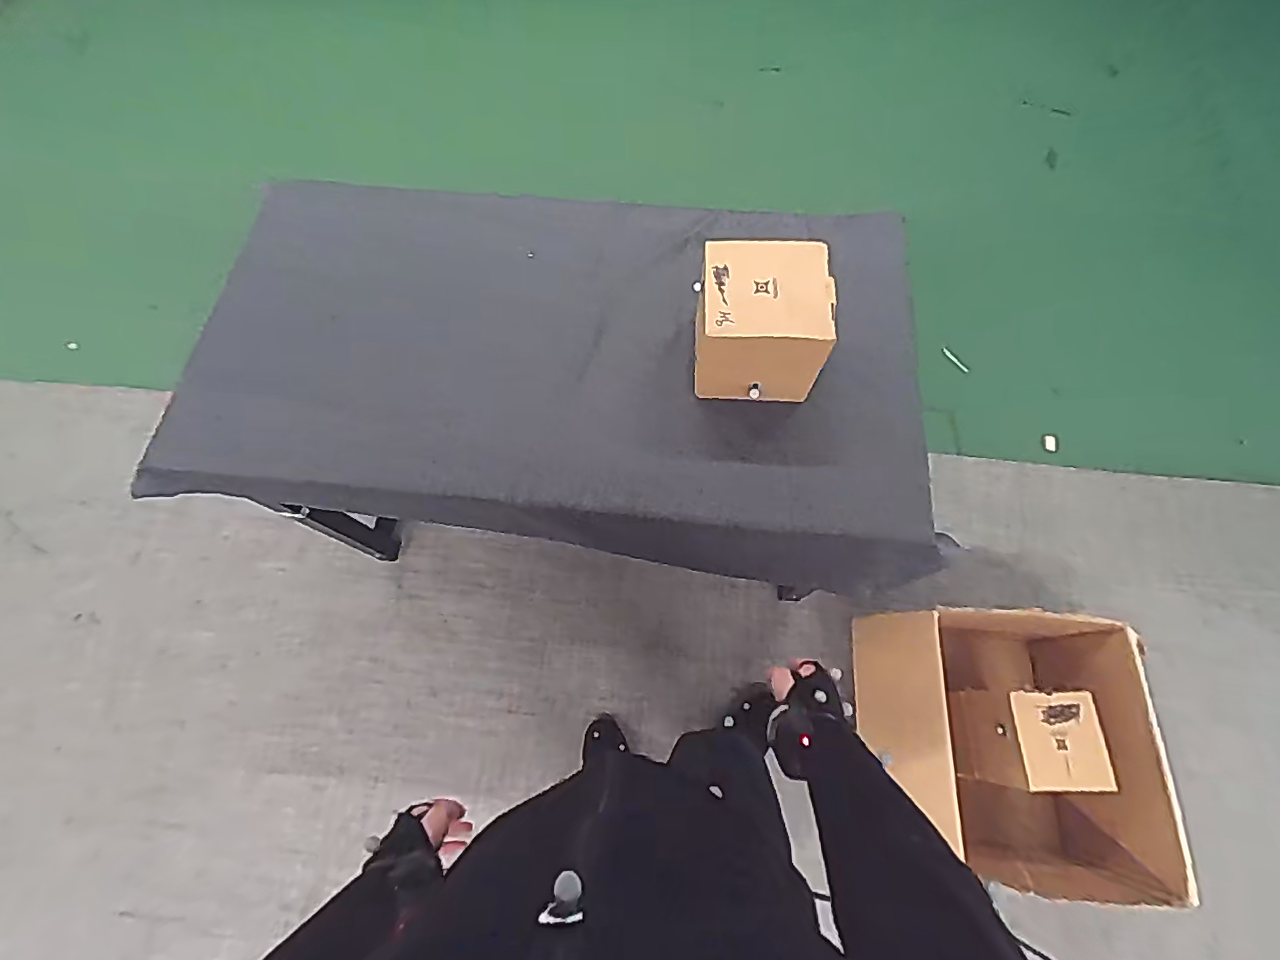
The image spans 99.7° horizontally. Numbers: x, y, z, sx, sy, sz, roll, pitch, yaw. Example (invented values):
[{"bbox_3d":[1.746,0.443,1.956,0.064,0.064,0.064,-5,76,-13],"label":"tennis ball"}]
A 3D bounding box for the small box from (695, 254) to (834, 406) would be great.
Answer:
[{"bbox_3d":[0.181,-0.224,0.836,0.179,0.176,0.168,0,70,2],"label":"small box"}]
